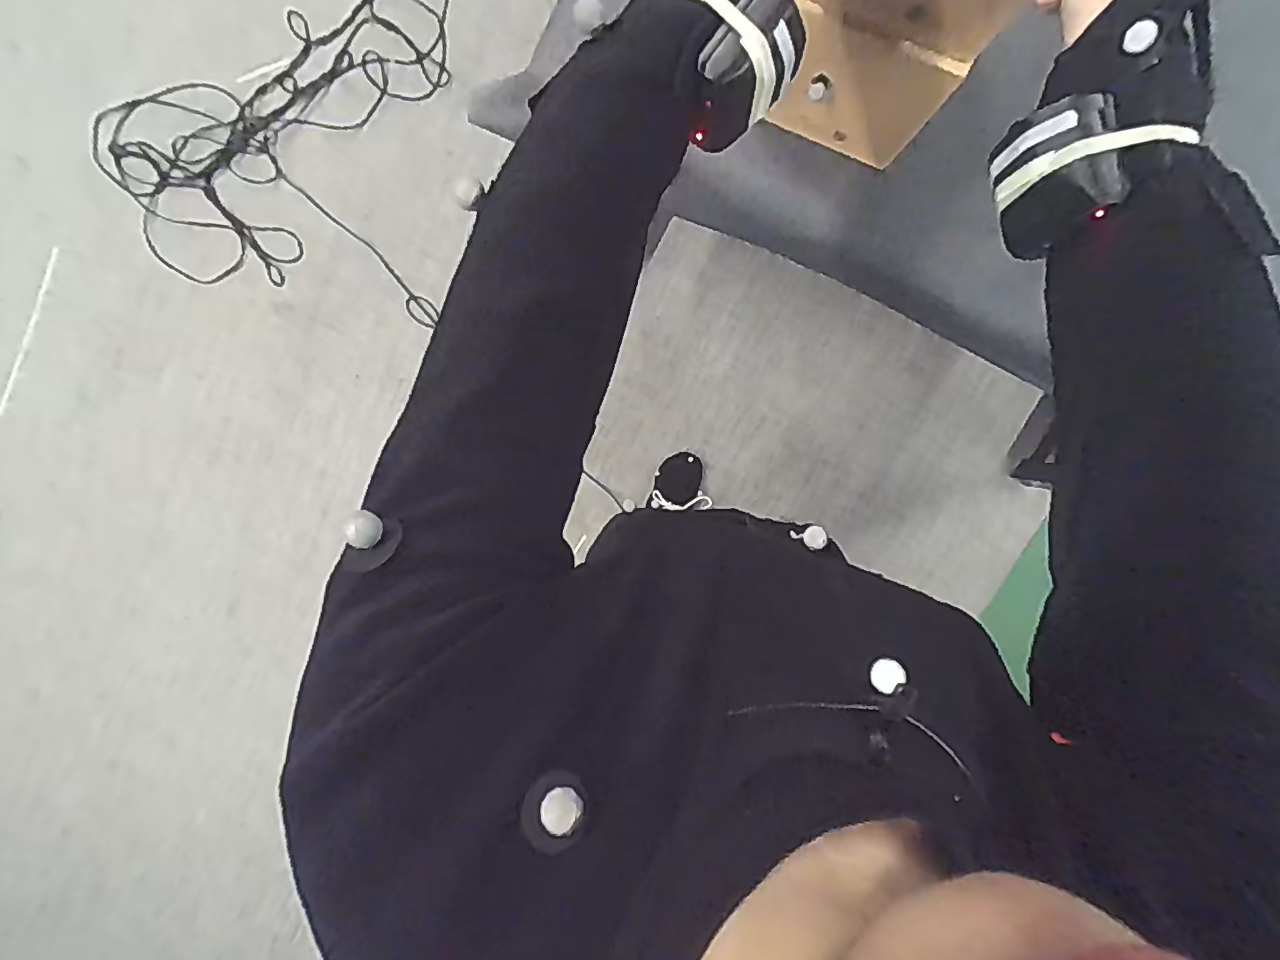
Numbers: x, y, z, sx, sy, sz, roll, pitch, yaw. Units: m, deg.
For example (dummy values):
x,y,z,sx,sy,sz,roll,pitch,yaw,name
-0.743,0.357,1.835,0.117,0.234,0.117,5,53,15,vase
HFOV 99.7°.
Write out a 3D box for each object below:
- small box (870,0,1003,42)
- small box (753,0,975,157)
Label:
x,y,z,sx,sy,sz,roll,pitch,yaw,name
0.214,-0.440,0.341,0.168,0.176,0.179,21,95,-3,small box
0.218,-0.446,0.504,0.168,0.176,0.179,23,96,-1,small box
